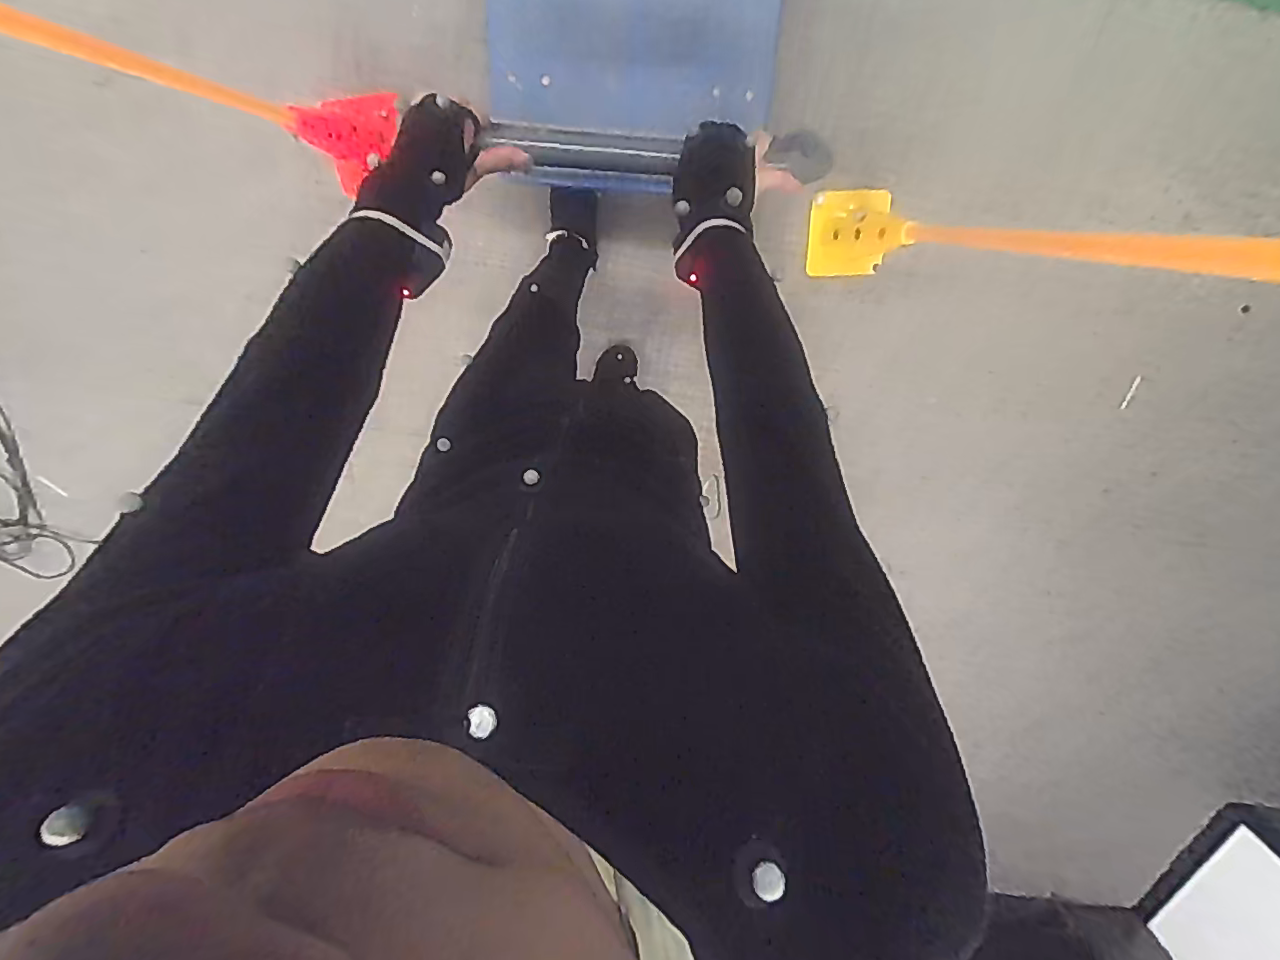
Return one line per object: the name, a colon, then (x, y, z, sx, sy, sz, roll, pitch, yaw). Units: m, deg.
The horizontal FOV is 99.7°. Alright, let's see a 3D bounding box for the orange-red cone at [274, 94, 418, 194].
orange-red cone: (-0.639, -0.724, 1.127, 0.199, 0.360, 0.198, -4, 114, 2)
